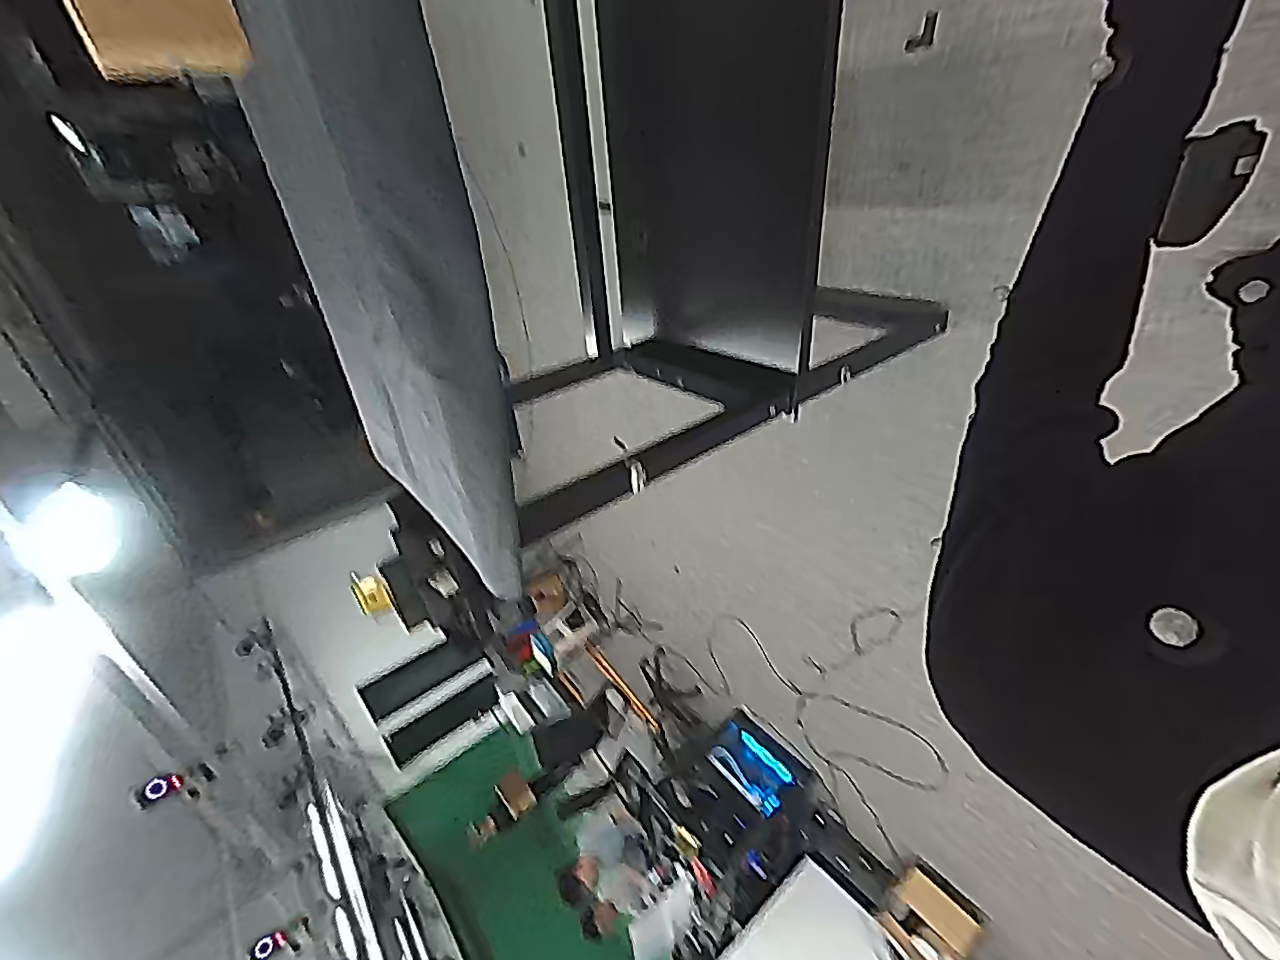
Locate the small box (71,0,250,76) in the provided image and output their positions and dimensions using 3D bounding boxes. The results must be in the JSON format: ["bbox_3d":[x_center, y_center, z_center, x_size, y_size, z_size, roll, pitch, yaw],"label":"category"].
[{"bbox_3d":[-0.642,-0.647,0.702,0.168,0.176,0.179,29,136,43],"label":"small box"}]
